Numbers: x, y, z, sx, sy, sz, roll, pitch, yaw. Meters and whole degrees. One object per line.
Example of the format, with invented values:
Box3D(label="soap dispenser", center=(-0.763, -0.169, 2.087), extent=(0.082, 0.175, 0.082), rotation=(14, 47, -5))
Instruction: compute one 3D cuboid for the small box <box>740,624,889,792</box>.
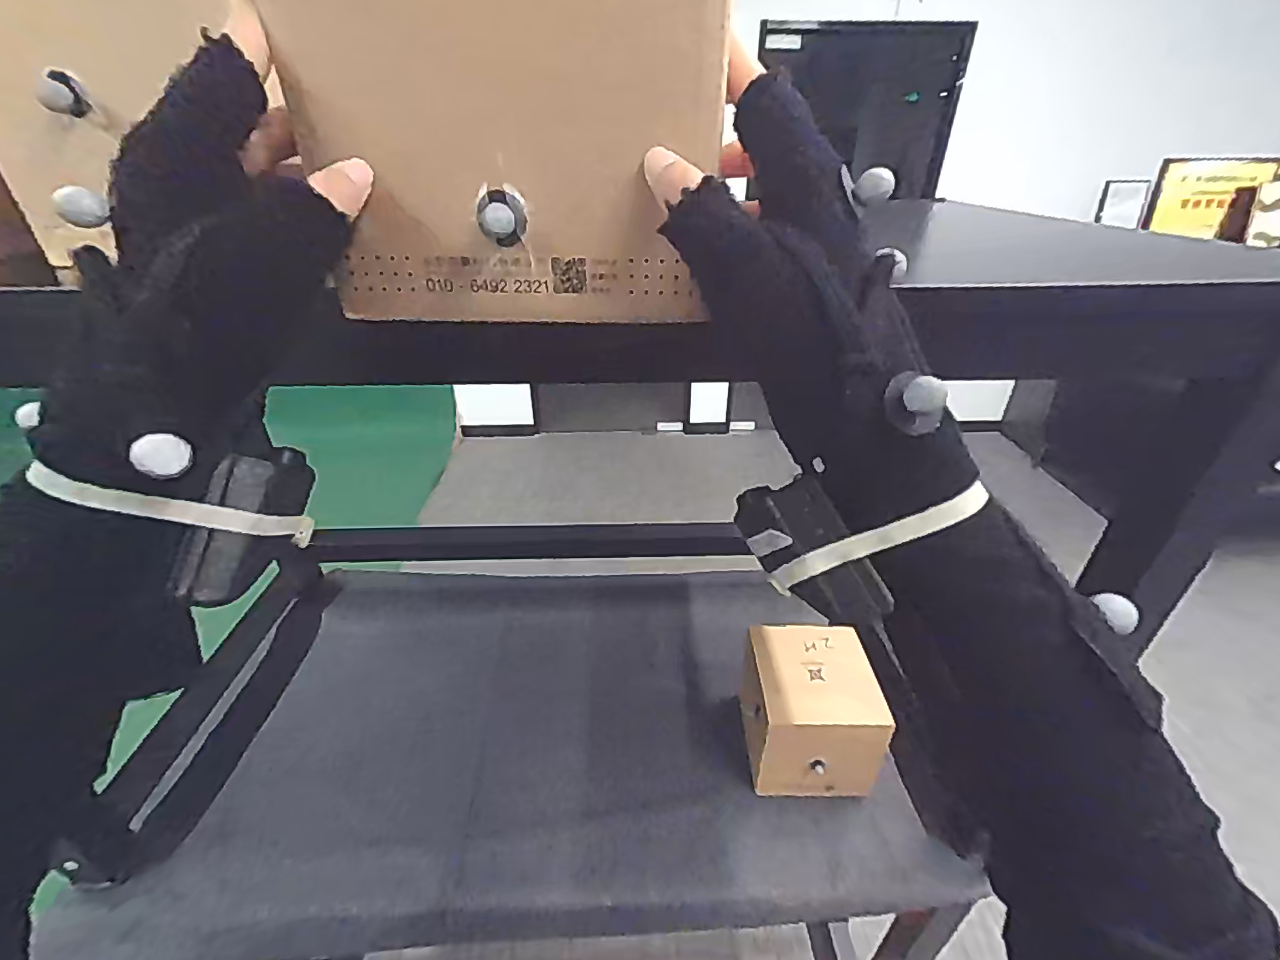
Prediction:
Box3D(label="small box", center=(0.248, 0.341, 0.815), extent=(0.168, 0.176, 0.179), rotation=(1, 30, 1))

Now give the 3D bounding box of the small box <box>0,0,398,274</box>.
Box3D(label="small box", center=(-0.295, -0.247, 0.383), extent=(0.168, 0.176, 0.179), rotation=(0, 31, 0))
